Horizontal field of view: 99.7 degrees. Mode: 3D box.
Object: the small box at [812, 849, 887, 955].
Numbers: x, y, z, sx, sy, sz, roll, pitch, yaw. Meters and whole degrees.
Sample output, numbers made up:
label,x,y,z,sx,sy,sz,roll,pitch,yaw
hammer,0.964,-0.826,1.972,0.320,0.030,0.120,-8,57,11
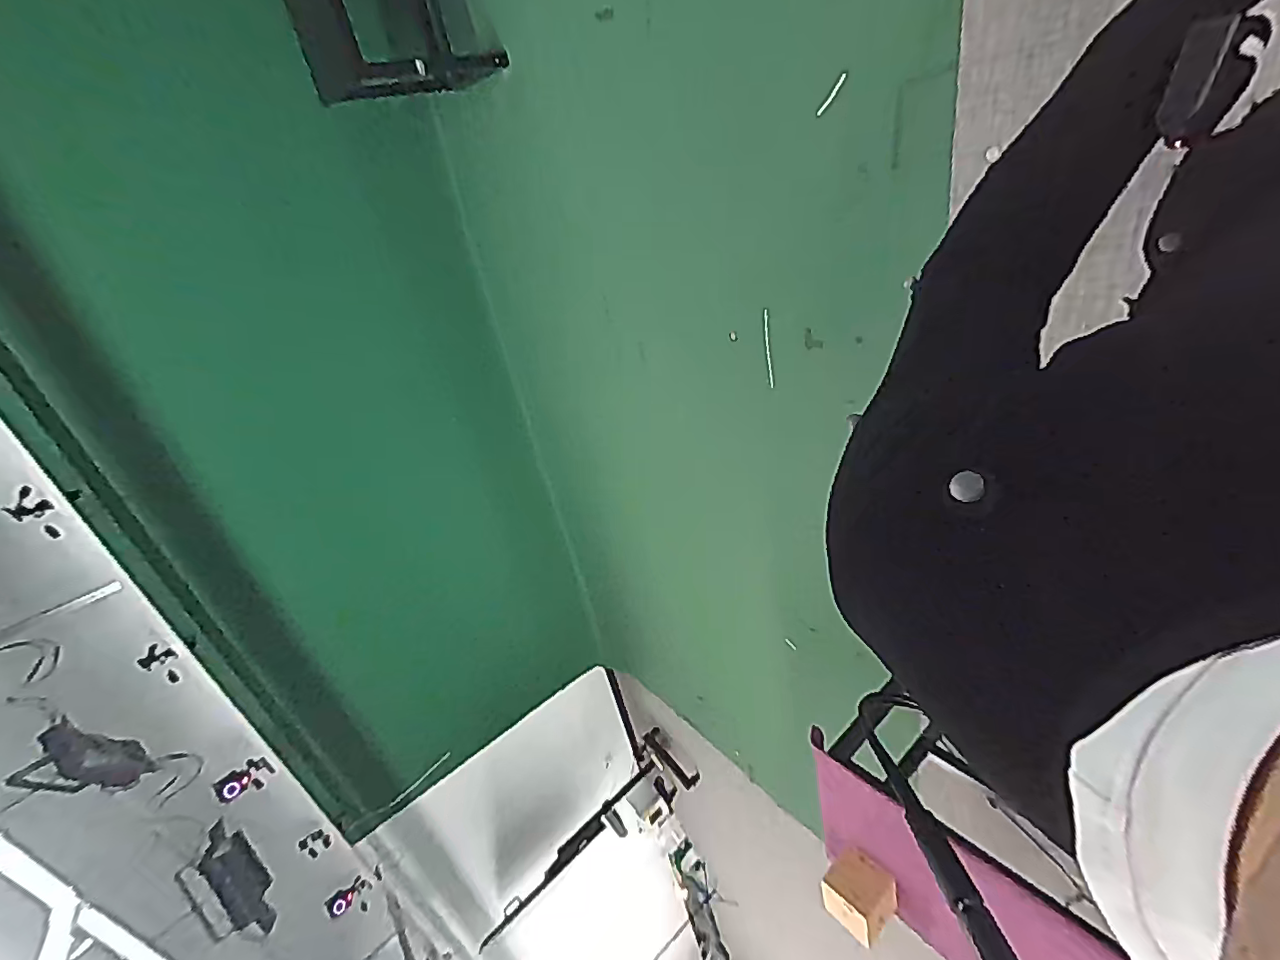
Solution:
label,x,y,z,sx,sy,sz,roll,pitch,yaw
small box,0.687,1.366,1.760,0.168,0.176,0.179,18,130,49
